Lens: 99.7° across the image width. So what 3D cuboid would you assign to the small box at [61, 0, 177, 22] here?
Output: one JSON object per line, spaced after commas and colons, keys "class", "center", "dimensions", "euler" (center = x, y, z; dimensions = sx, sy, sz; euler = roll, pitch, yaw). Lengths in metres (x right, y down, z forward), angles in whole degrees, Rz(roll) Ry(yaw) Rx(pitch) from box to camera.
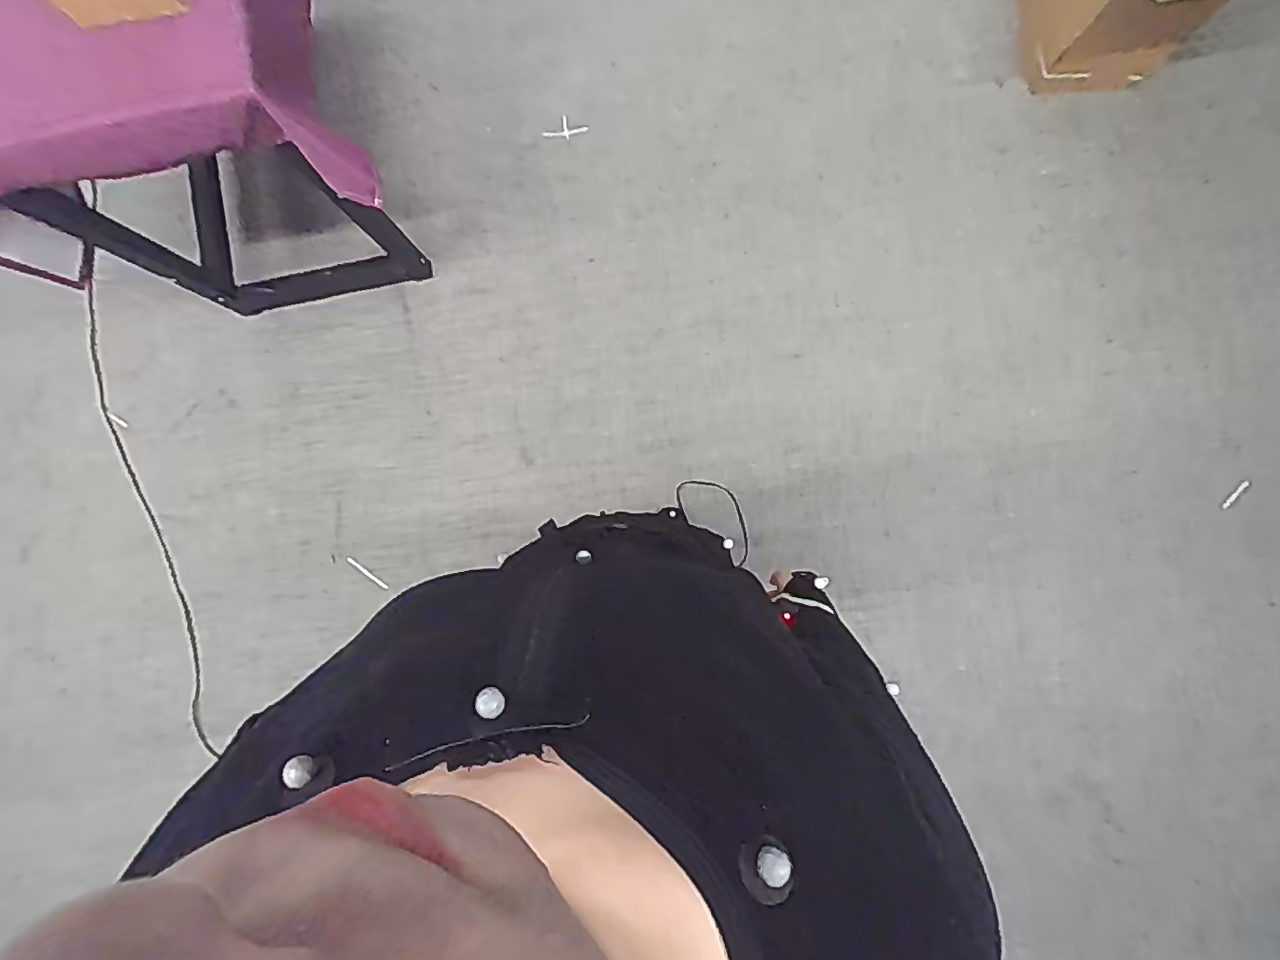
{"class": "small box", "center": [-0.807, -0.819, 0.781], "dimensions": [0.179, 0.176, 0.168], "euler": [-8, 86, 2]}
